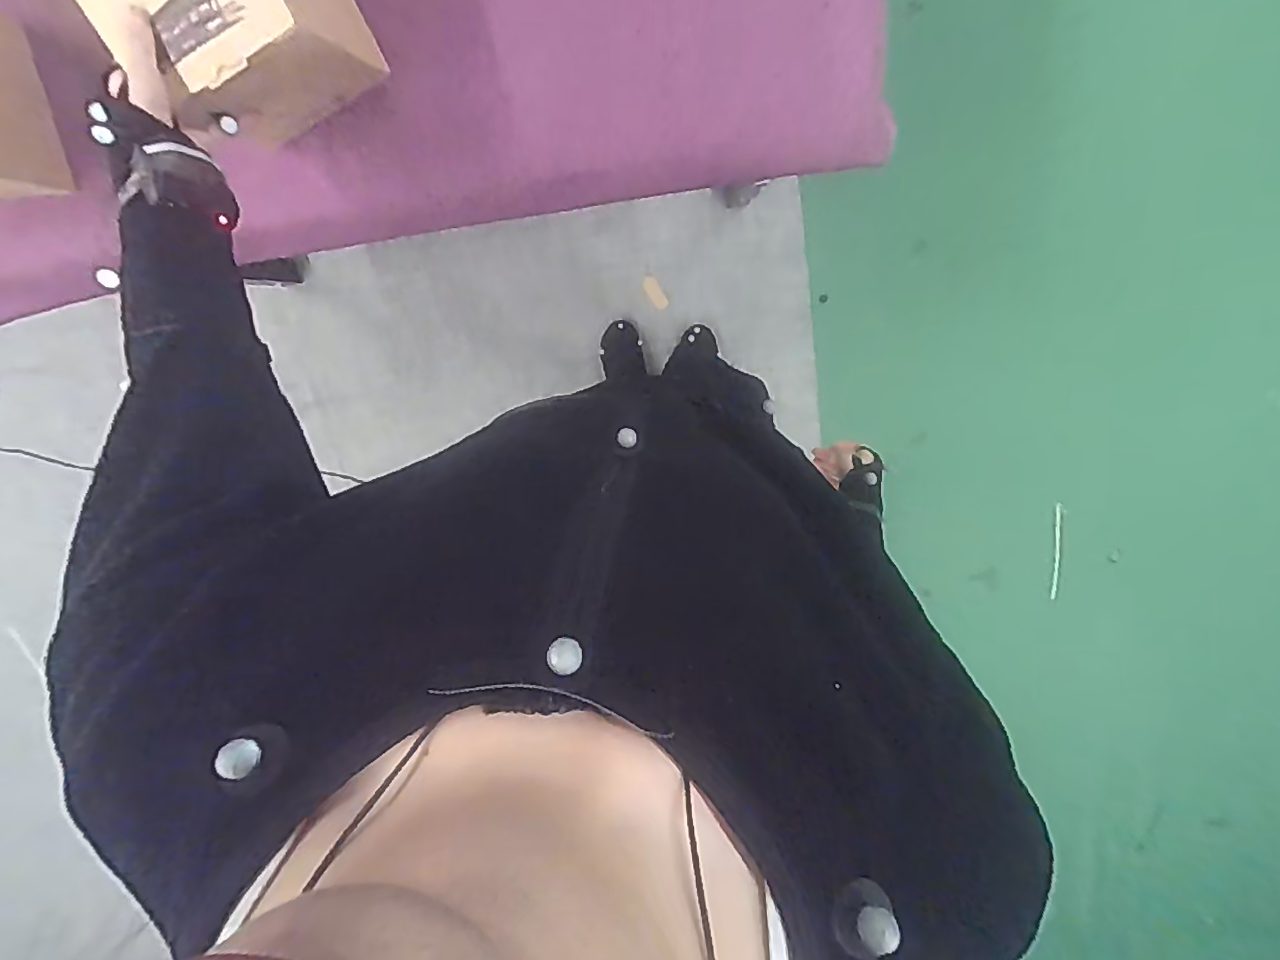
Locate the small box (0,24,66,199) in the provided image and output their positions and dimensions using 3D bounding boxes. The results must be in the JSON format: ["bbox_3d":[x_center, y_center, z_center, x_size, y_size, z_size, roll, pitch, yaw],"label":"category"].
[{"bbox_3d":[-0.755,-0.389,0.543,0.168,0.176,0.179,-2,108,-1],"label":"small box"}]
